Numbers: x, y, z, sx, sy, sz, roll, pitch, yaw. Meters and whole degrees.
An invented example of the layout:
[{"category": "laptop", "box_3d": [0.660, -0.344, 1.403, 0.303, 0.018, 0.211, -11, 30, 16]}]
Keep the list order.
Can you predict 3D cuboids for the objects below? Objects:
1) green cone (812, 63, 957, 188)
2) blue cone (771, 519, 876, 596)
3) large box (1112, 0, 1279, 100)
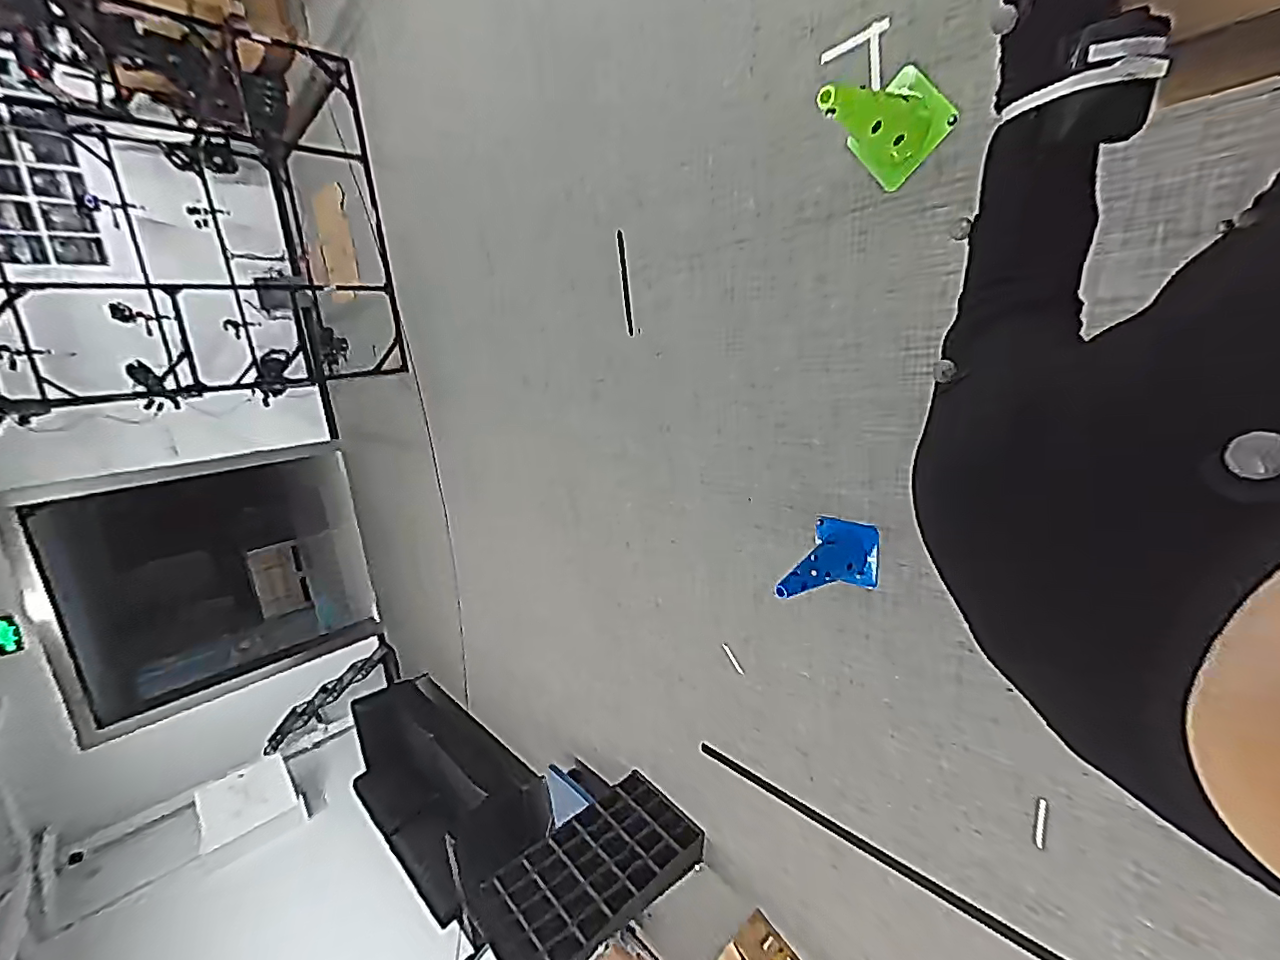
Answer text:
[{"category": "green cone", "box_3d": [0.497, -0.809, 1.194, 0.200, 0.368, 0.202, 60, 140, 16]}, {"category": "blue cone", "box_3d": [0.515, 0.257, 1.573, 0.192, 0.380, 0.193, 14, 113, 47]}, {"category": "large box", "box_3d": [0.529, -0.462, 0.274, 0.408, 0.320, 0.320, 8, 116, 46]}]
